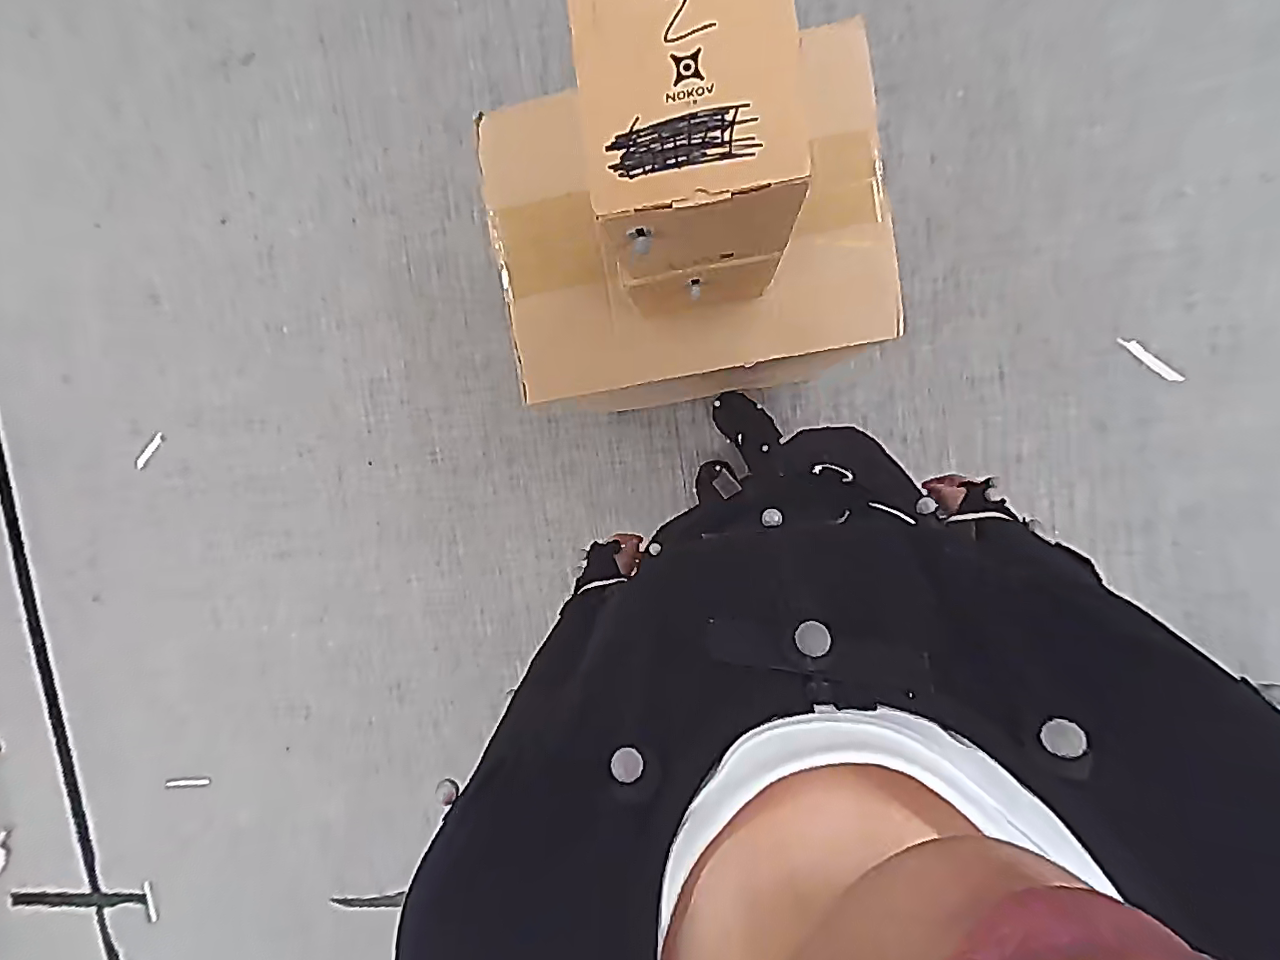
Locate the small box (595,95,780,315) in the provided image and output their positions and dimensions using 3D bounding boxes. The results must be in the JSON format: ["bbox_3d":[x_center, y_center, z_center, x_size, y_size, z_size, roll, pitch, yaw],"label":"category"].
[{"bbox_3d":[0.057,-0.307,0.643,0.179,0.176,0.168,-9,95,8],"label":"small box"}]
